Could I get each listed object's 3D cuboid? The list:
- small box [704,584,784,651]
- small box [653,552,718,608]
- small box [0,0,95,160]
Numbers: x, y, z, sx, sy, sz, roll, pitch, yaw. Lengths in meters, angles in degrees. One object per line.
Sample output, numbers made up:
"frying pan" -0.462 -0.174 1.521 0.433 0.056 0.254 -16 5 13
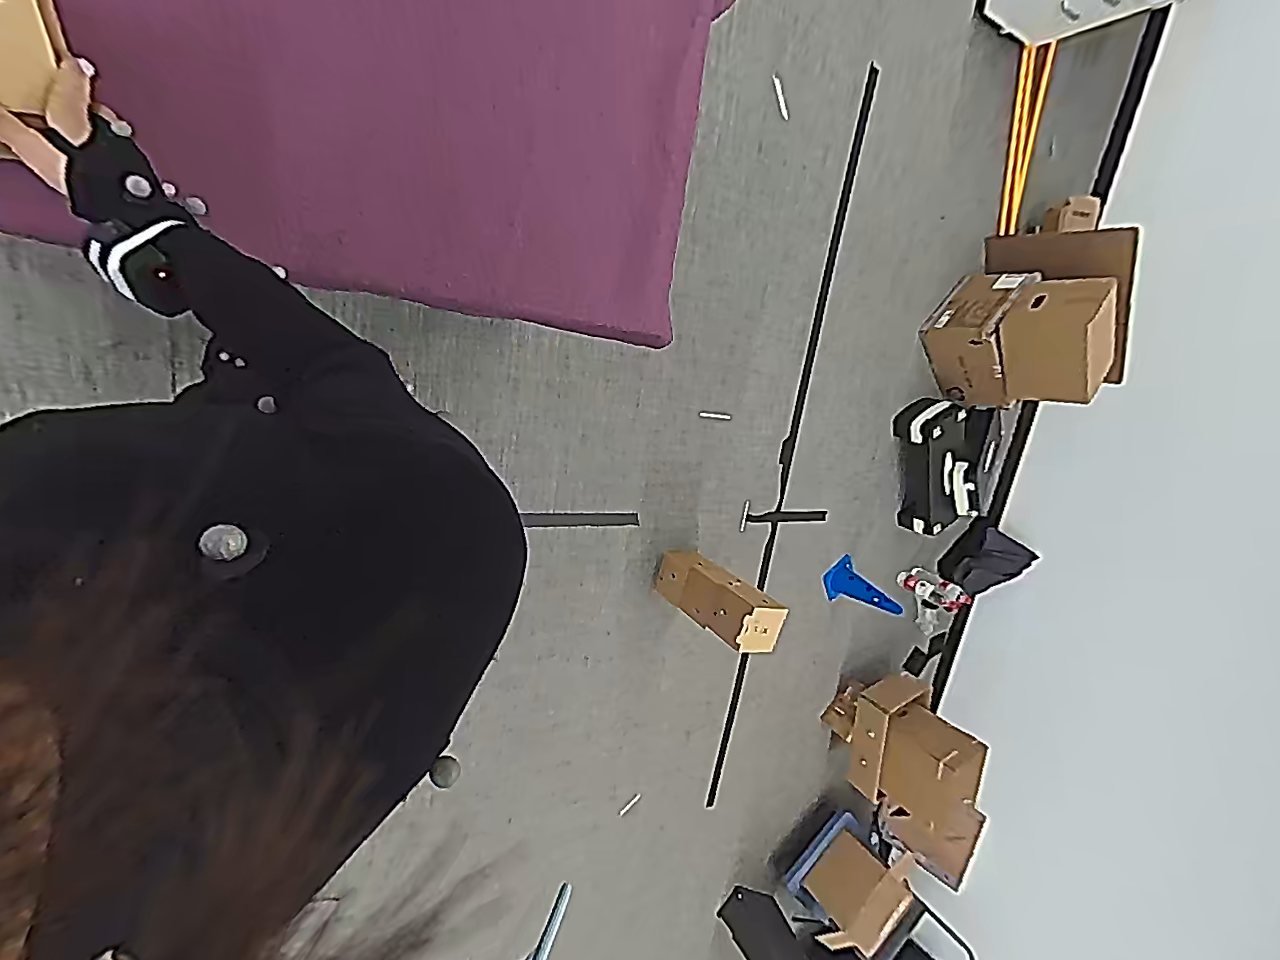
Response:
"small box" 0.356 0.473 1.867 0.179 0.176 0.168 13 99 -35
"small box" 0.172 0.391 2.129 0.179 0.176 0.168 5 104 -34
"small box" -0.602 -0.380 0.444 0.179 0.176 0.168 -16 112 -36
